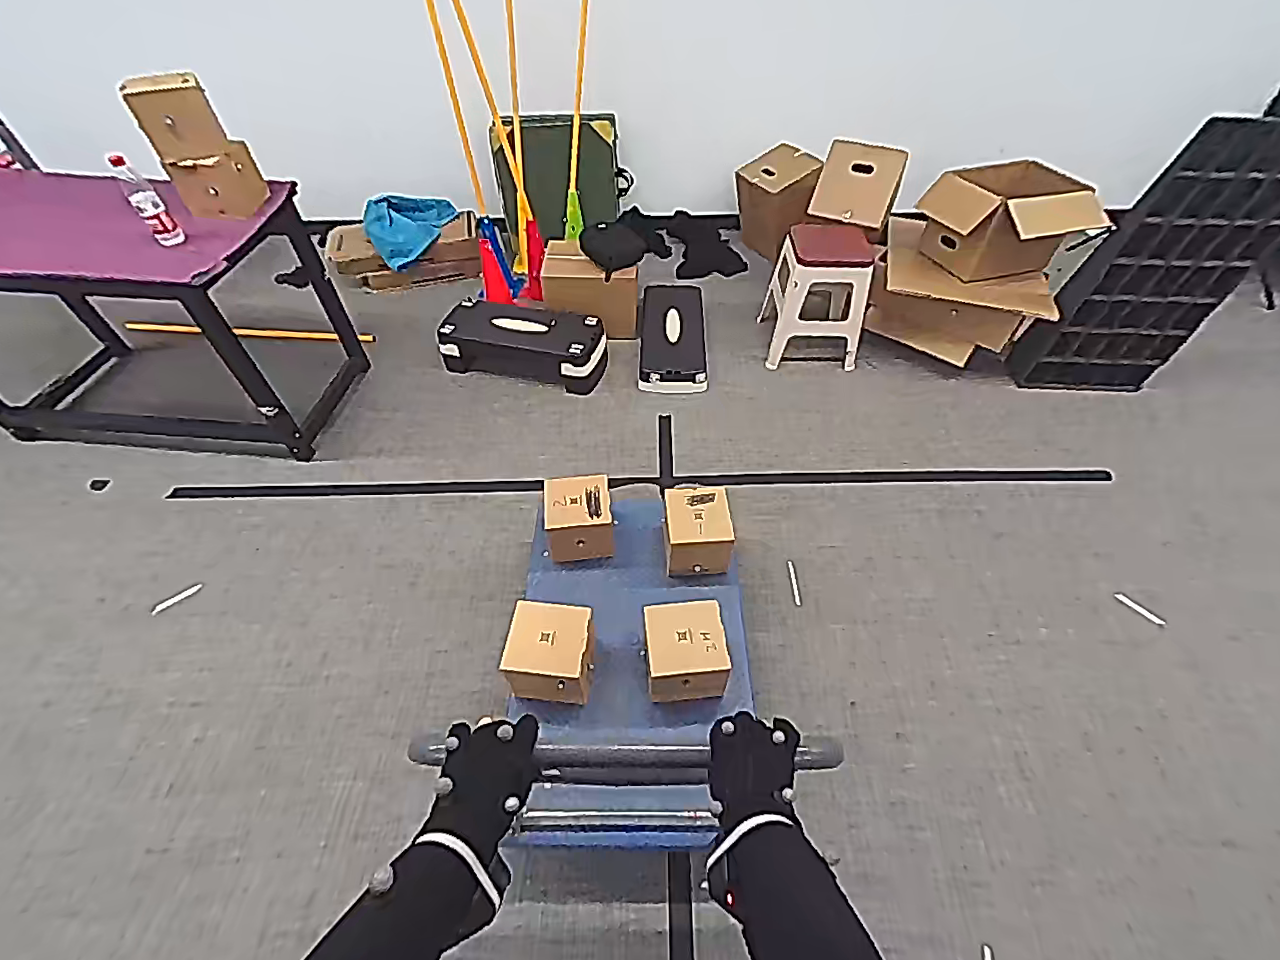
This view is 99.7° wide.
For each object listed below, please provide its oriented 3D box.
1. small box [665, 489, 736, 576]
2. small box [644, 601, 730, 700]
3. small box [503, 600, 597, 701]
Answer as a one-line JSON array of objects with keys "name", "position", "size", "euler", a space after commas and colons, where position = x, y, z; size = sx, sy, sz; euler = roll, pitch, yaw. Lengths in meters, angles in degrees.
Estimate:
[{"name": "small box", "position": [0.157, 0.144, 1.475], "size": [0.168, 0.176, 0.179], "euler": [-3, 51, -2]}, {"name": "small box", "position": [0.104, 0.401, 1.261], "size": [0.179, 0.176, 0.168], "euler": [-4, 51, -3]}, {"name": "small box", "position": [-0.202, 0.401, 1.262], "size": [0.179, 0.176, 0.168], "euler": [6, 50, 3]}]
